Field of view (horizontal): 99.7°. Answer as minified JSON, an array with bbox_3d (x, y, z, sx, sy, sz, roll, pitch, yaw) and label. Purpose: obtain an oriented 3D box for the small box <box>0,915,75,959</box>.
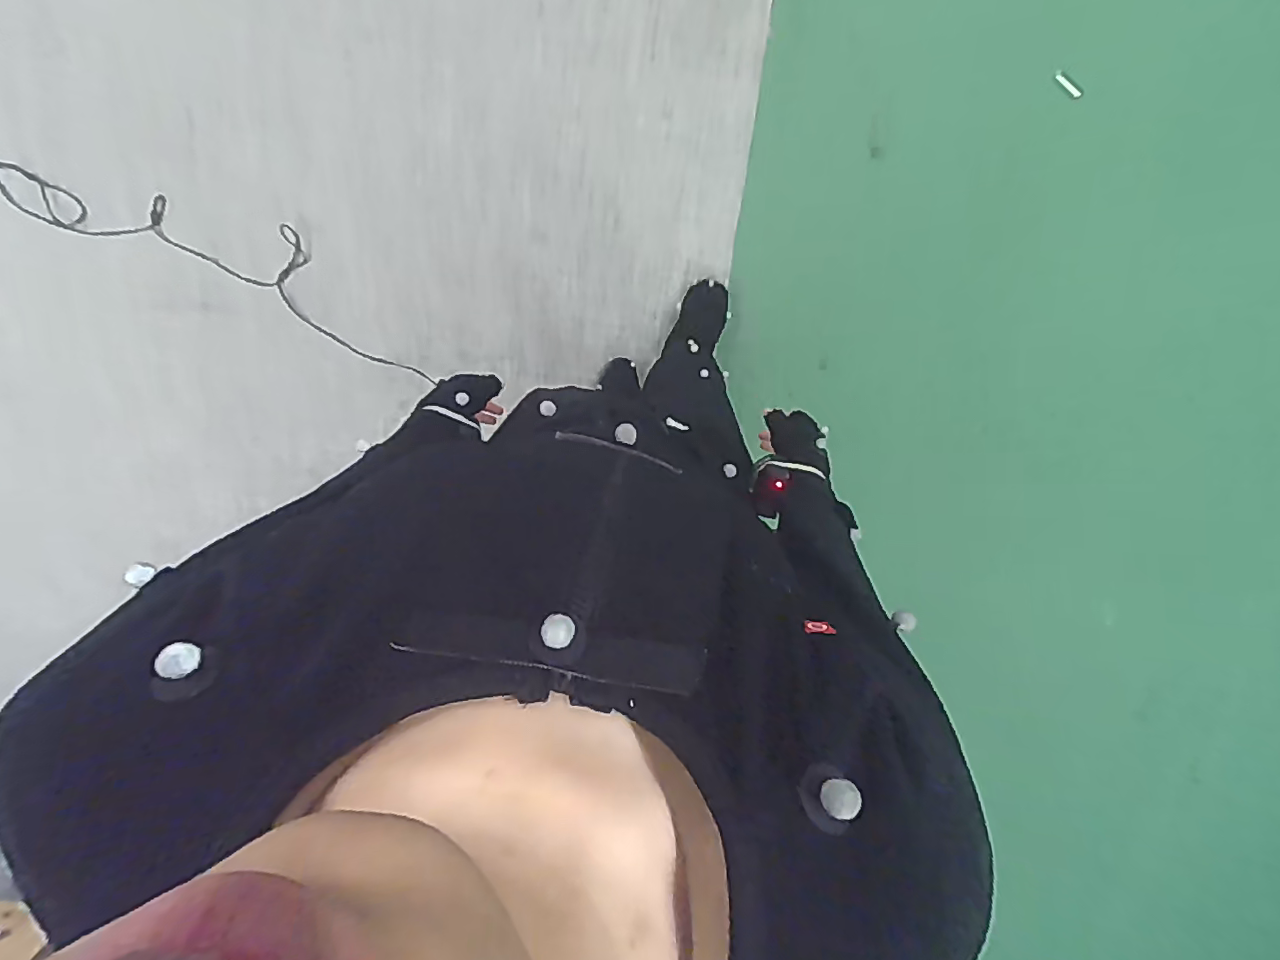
[{"bbox_3d":[-1.071,0.855,0.872,0.168,0.176,0.179,6,105,-1],"label":"small box"}]
